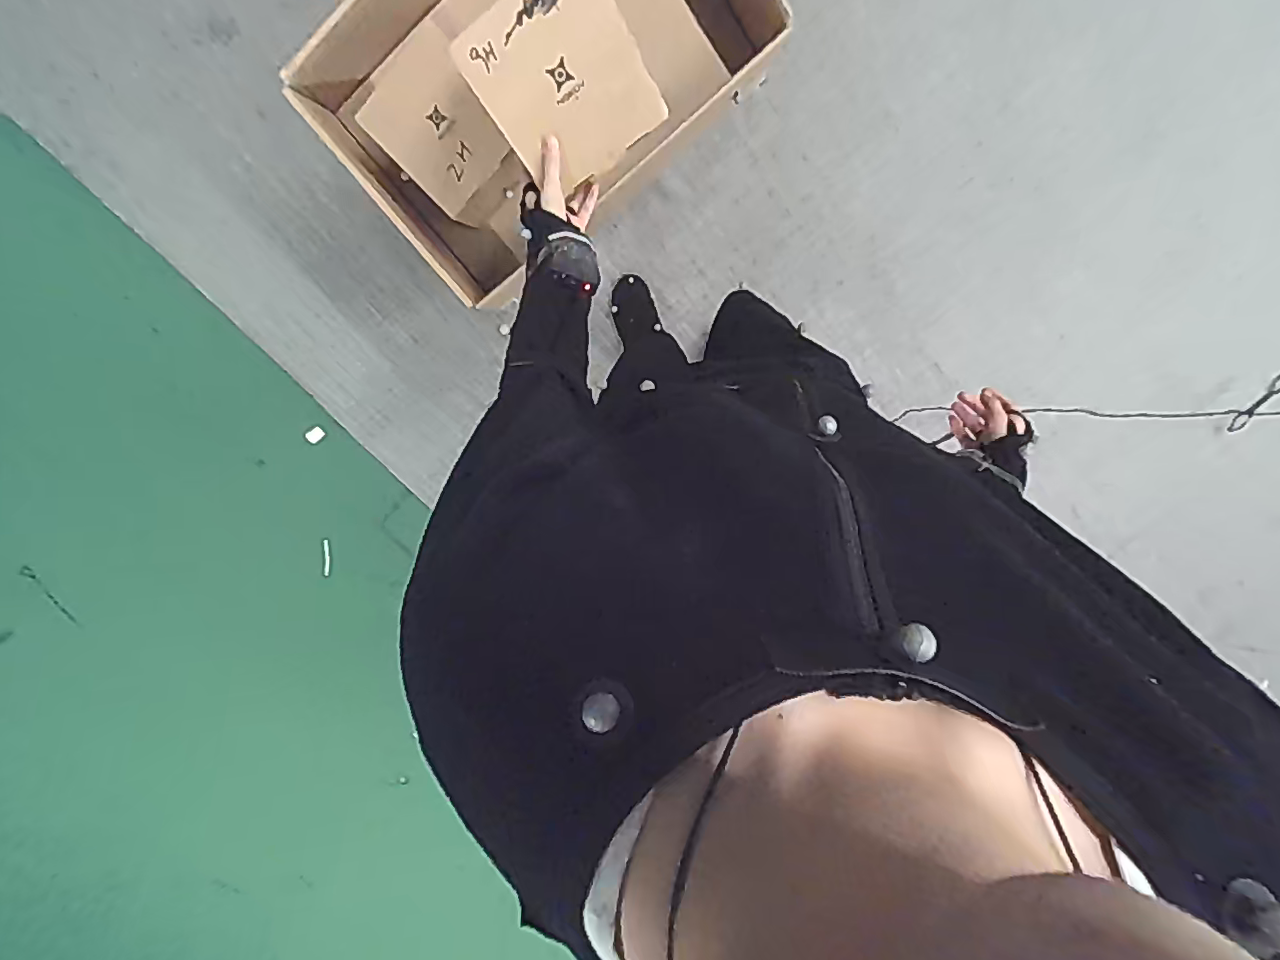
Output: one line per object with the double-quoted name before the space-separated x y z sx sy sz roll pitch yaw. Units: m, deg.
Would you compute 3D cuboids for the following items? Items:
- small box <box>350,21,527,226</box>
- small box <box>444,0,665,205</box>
"small box" -0.278 -0.509 0.808 0.168 0.176 0.179 -41 106 12
"small box" -0.094 -0.460 0.623 0.168 0.176 0.179 -31 127 12
